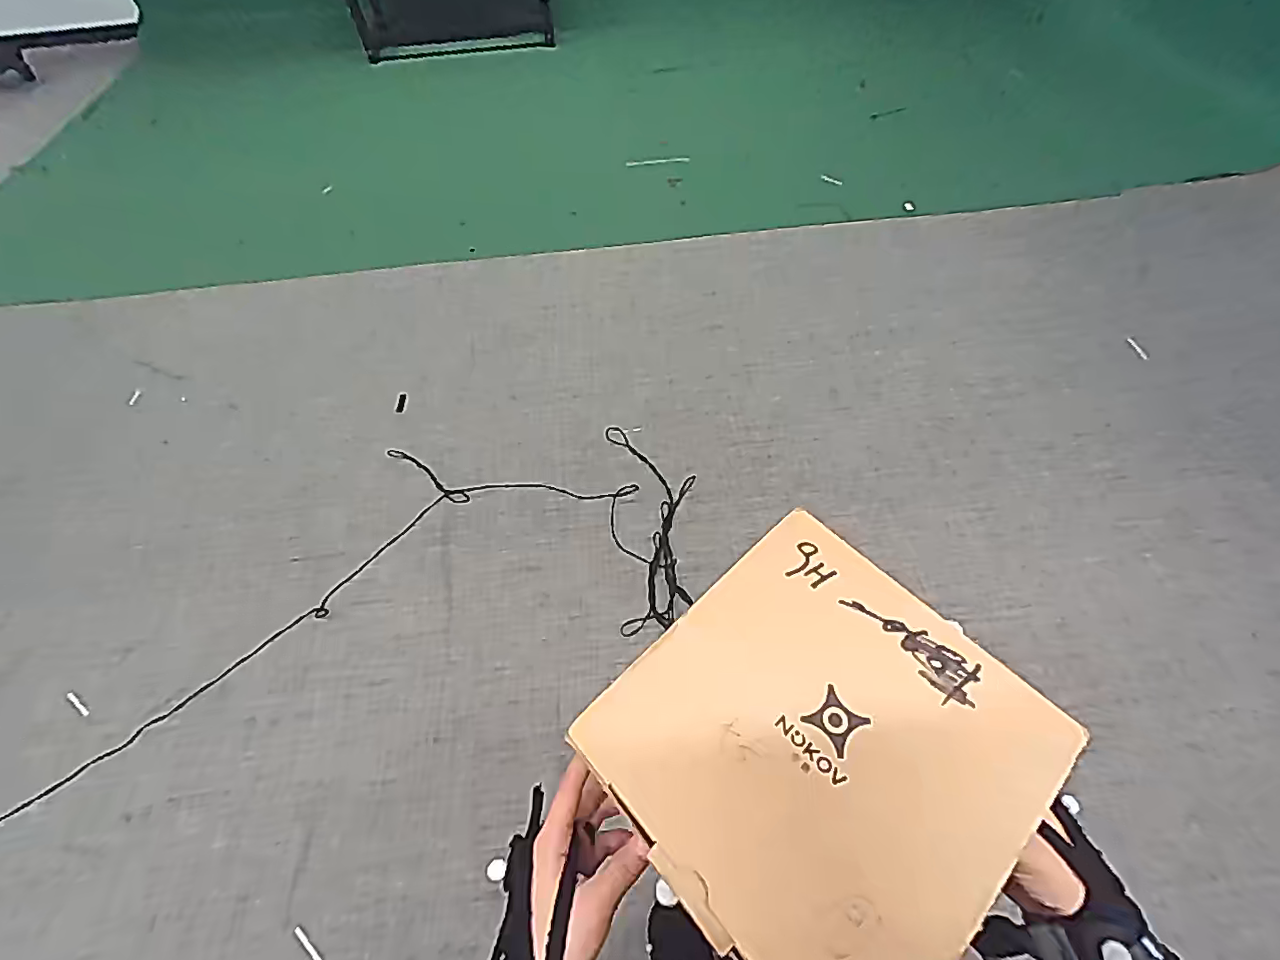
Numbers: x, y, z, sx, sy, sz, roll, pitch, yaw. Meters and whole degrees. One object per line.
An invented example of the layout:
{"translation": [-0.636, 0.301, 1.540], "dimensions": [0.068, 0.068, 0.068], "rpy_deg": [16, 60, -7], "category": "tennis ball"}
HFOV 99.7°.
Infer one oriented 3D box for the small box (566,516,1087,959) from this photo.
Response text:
{"translation": [0.087, 0.161, 0.313], "dimensions": [0.179, 0.176, 0.168], "rpy_deg": [-39, 64, -18], "category": "small box"}
